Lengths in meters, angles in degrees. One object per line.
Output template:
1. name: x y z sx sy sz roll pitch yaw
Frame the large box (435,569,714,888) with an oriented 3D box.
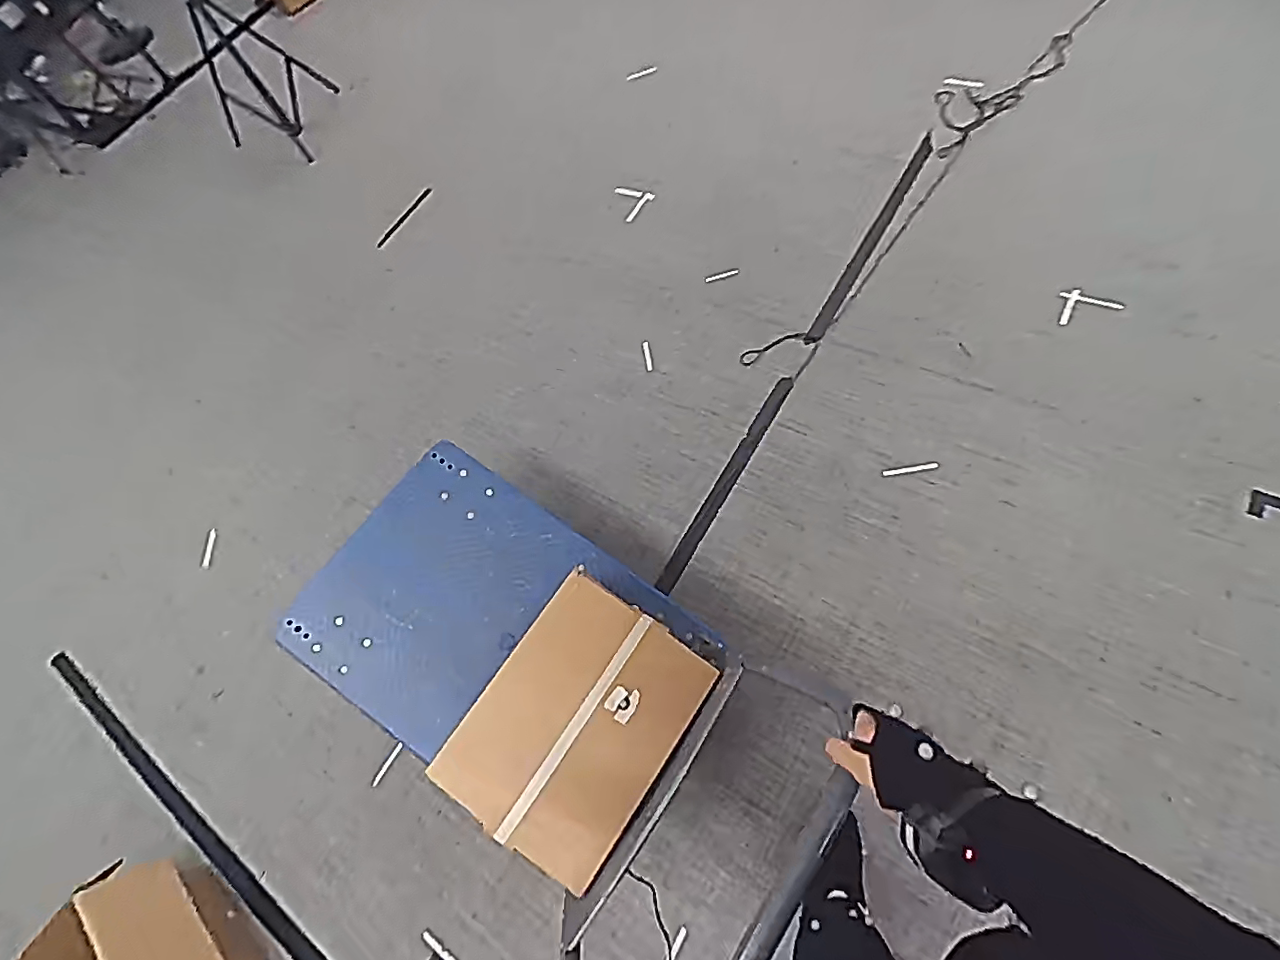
1. large box: -0.110 0.441 1.049 0.320 0.320 0.408 34 75 6
